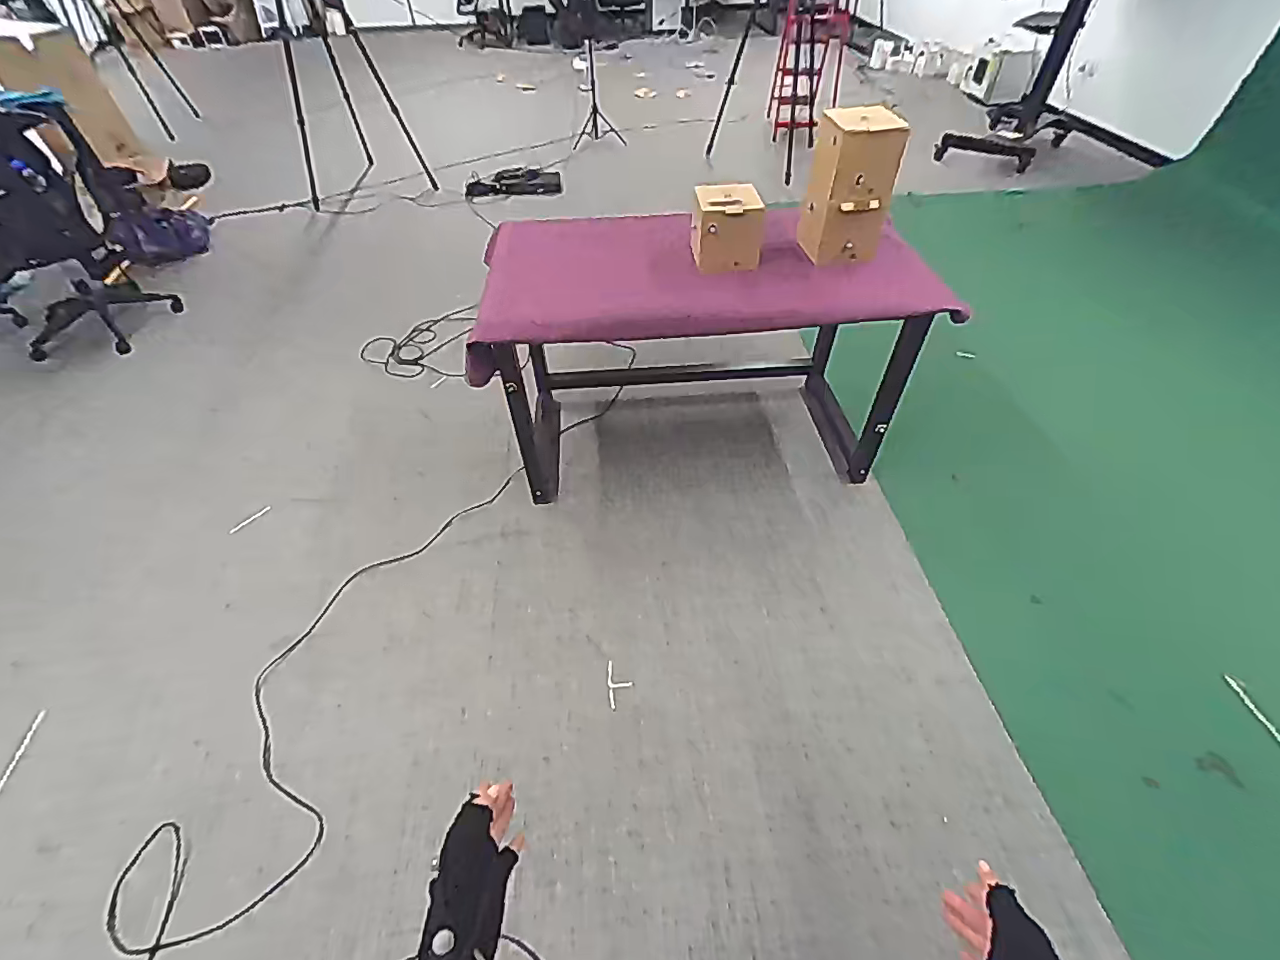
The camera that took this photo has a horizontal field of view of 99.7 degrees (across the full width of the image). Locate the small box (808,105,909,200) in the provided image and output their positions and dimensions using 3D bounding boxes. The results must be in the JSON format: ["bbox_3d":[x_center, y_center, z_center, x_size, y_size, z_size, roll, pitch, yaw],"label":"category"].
[{"bbox_3d":[0.552,-0.843,1.394,0.168,0.176,0.179,-6,49,-4],"label":"small box"}]

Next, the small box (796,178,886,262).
[{"bbox_3d":[0.552,-0.731,1.513,0.168,0.176,0.179,-7,49,-3],"label":"small box"}]
